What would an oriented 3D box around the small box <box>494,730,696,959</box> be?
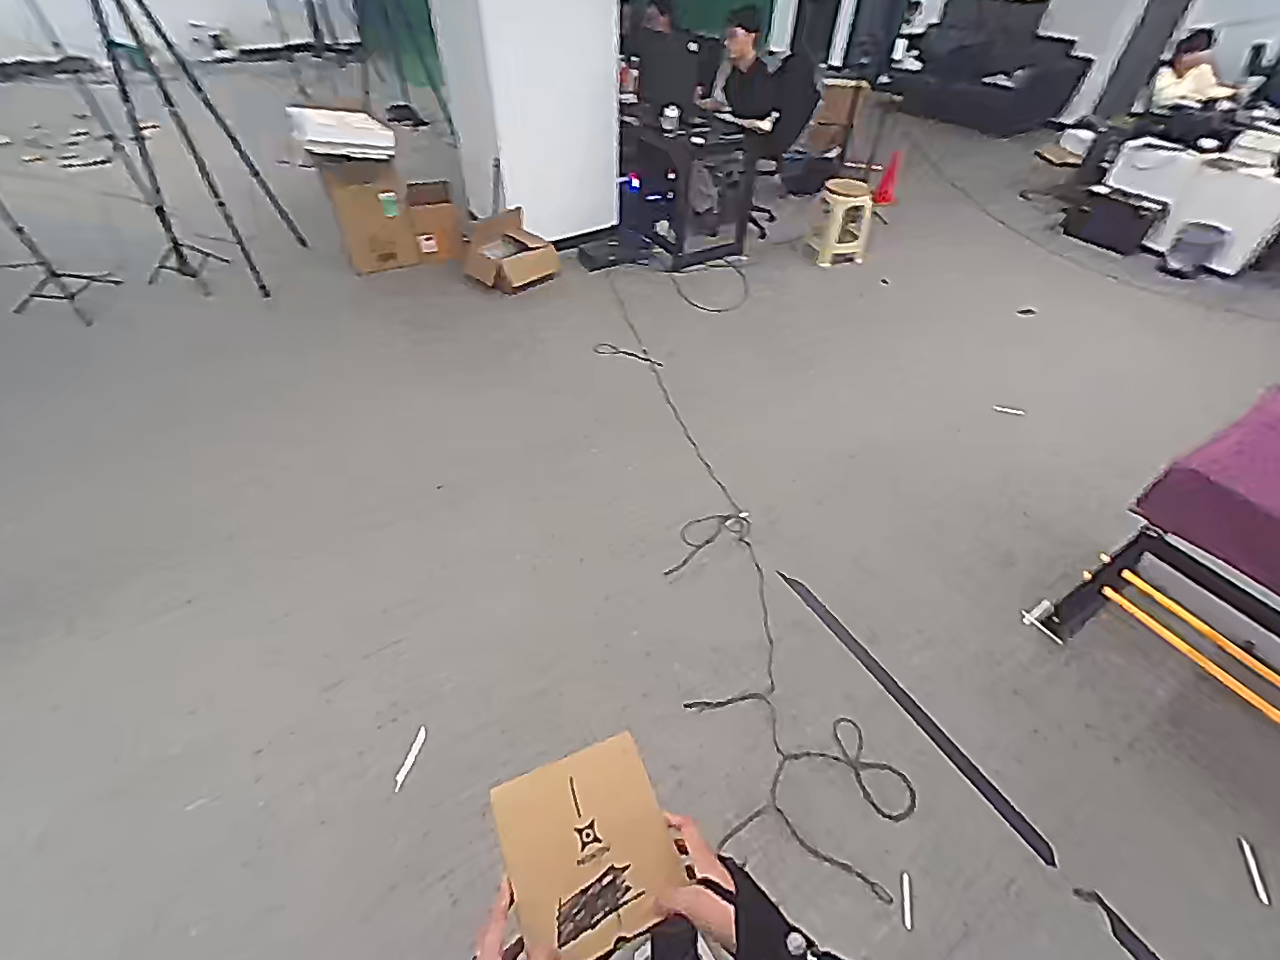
[{"bbox_3d":[-0.059,0.418,0.612,0.168,0.176,0.179,-13,55,-21],"label":"small box"}]
